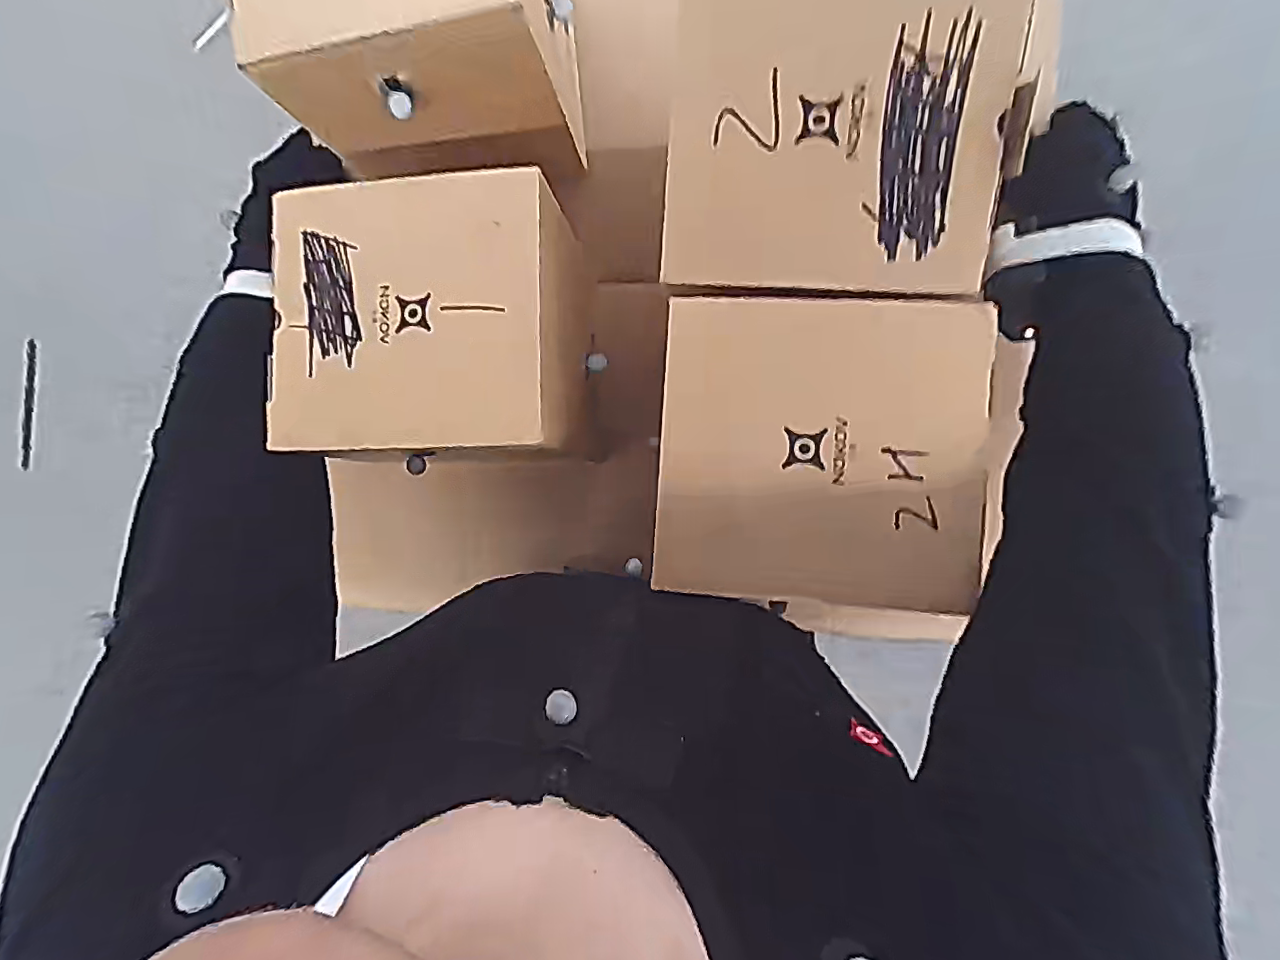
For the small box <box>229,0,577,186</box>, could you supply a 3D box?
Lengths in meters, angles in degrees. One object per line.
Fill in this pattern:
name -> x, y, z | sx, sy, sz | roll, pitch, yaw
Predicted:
small box -> -0.148, -0.338, 0.381 | 0.179, 0.176, 0.168 | -5, 91, 8
